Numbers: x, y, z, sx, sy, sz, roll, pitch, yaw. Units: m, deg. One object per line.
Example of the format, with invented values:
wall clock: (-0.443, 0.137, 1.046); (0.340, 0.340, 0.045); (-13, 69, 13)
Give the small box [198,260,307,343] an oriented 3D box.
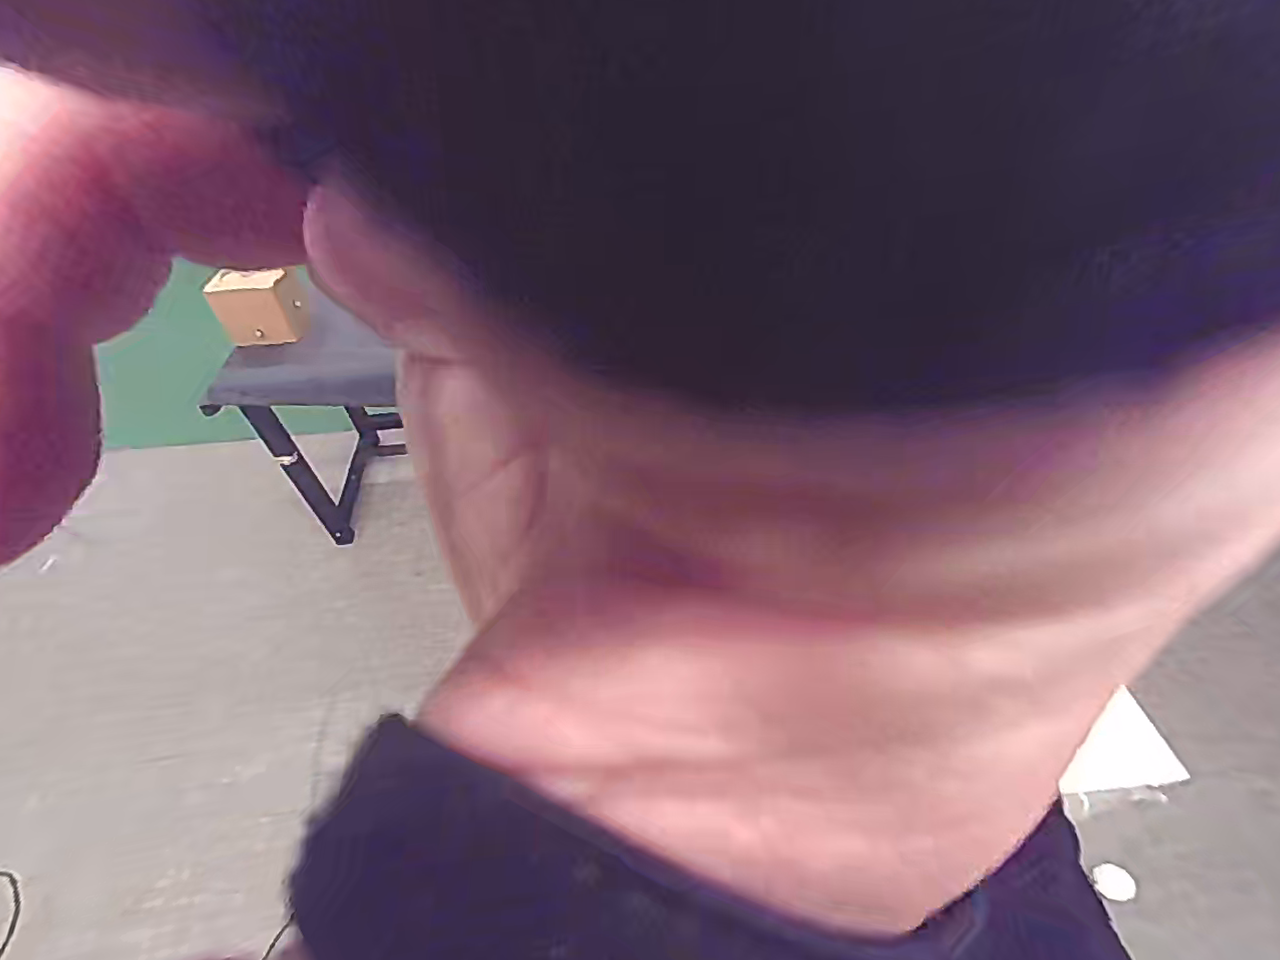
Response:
small box: (-1.078, -0.502, 1.525); (0.179, 0.176, 0.168); (-4, 45, -6)
